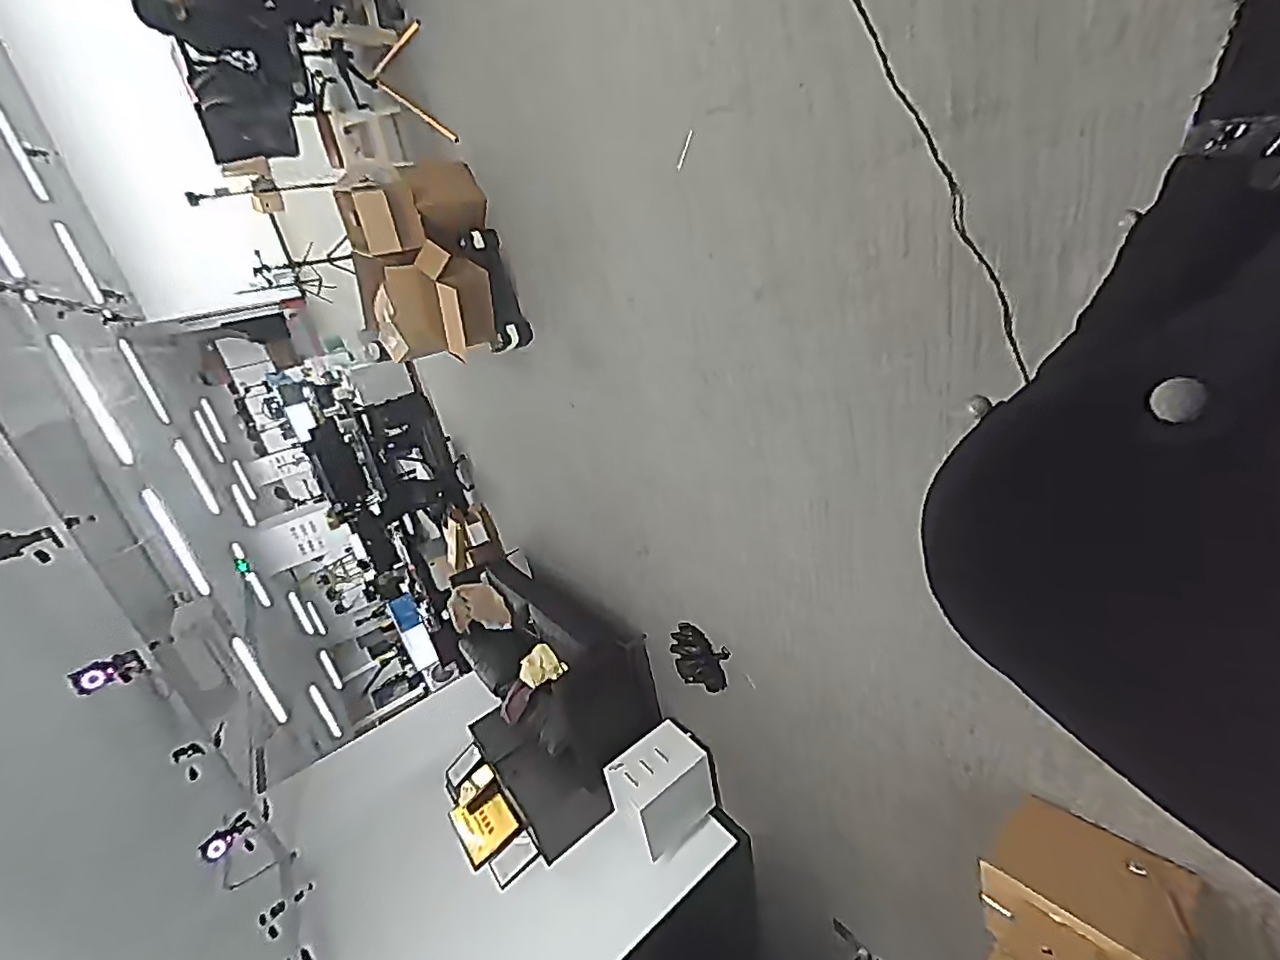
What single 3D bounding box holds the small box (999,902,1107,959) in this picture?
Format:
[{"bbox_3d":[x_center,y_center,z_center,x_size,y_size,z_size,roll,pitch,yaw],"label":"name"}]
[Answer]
[{"bbox_3d":[1.083,1.261,1.411,0.179,0.176,0.168,1,113,59],"label":"small box"}]
